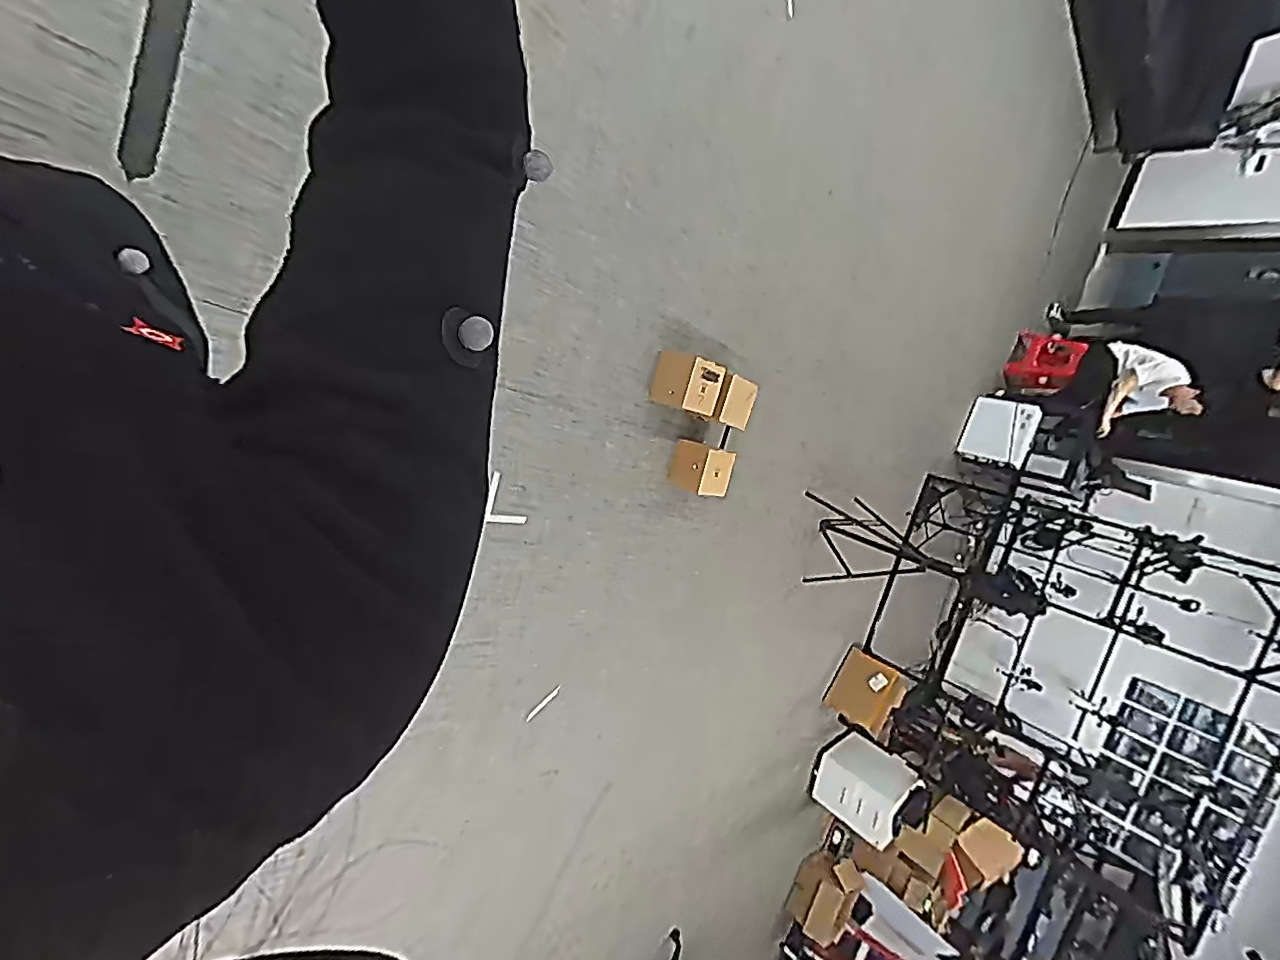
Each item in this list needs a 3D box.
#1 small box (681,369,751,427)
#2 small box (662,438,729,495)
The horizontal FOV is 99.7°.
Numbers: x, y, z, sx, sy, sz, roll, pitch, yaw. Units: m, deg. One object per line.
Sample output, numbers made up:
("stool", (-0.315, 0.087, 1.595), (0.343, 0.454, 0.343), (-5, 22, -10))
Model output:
("small box", (0.289, -0.307, 2.045), (0.168, 0.176, 0.179), (12, 98, -46))
("small box", (0.209, -0.051, 2.080), (0.168, 0.176, 0.179), (5, 102, -45))
